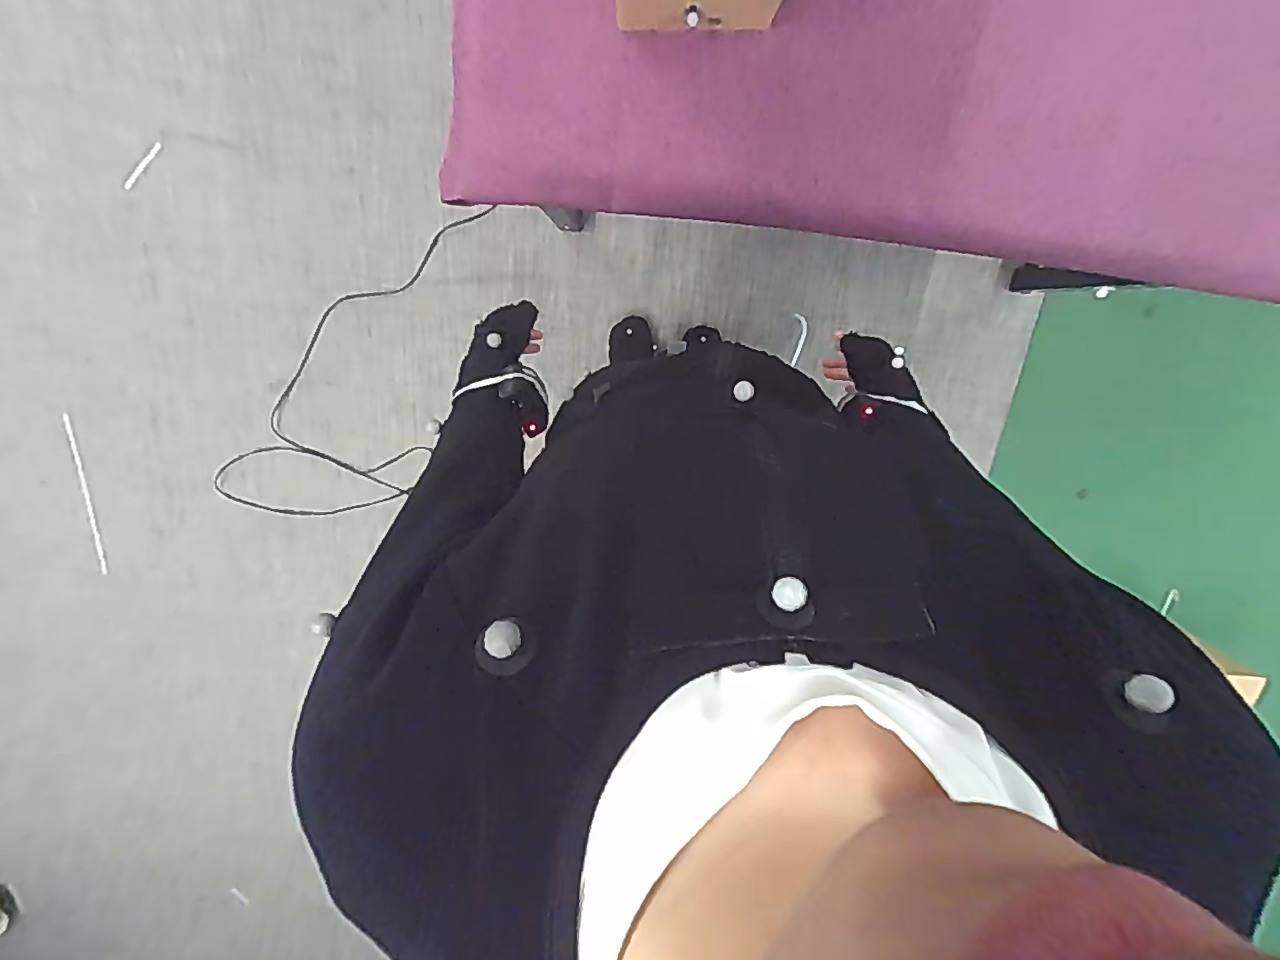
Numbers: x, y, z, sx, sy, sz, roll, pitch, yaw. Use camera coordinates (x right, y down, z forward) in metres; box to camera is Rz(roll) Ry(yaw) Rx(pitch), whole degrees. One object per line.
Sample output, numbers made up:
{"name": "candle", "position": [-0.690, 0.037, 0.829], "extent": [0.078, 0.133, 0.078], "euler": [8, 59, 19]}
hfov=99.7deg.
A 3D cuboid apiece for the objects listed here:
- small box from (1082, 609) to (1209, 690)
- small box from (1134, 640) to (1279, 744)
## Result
{"name": "small box", "position": [1.442, 0.488, 1.554], "extent": [0.179, 0.176, 0.168], "euler": [5, 107, -1]}
{"name": "small box", "position": [1.445, 0.543, 1.396], "extent": [0.168, 0.176, 0.179], "euler": [7, 108, -4]}
